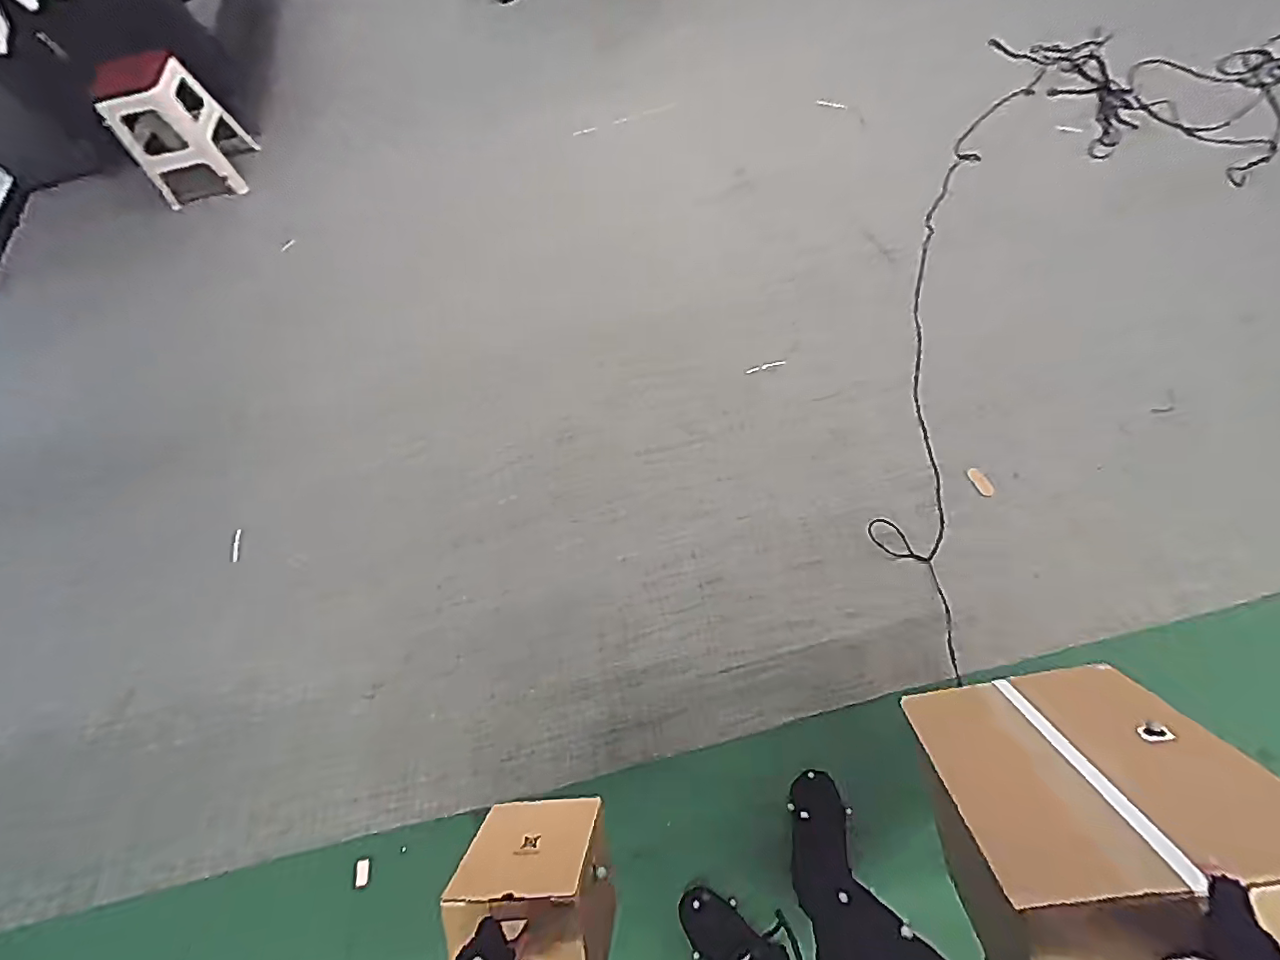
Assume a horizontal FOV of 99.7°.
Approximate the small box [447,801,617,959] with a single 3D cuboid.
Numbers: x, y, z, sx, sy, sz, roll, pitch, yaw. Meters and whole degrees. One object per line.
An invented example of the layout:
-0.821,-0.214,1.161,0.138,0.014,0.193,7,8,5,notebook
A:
-0.130,0.564,0.716,0.168,0.179,0.176,-8,94,7,small box
